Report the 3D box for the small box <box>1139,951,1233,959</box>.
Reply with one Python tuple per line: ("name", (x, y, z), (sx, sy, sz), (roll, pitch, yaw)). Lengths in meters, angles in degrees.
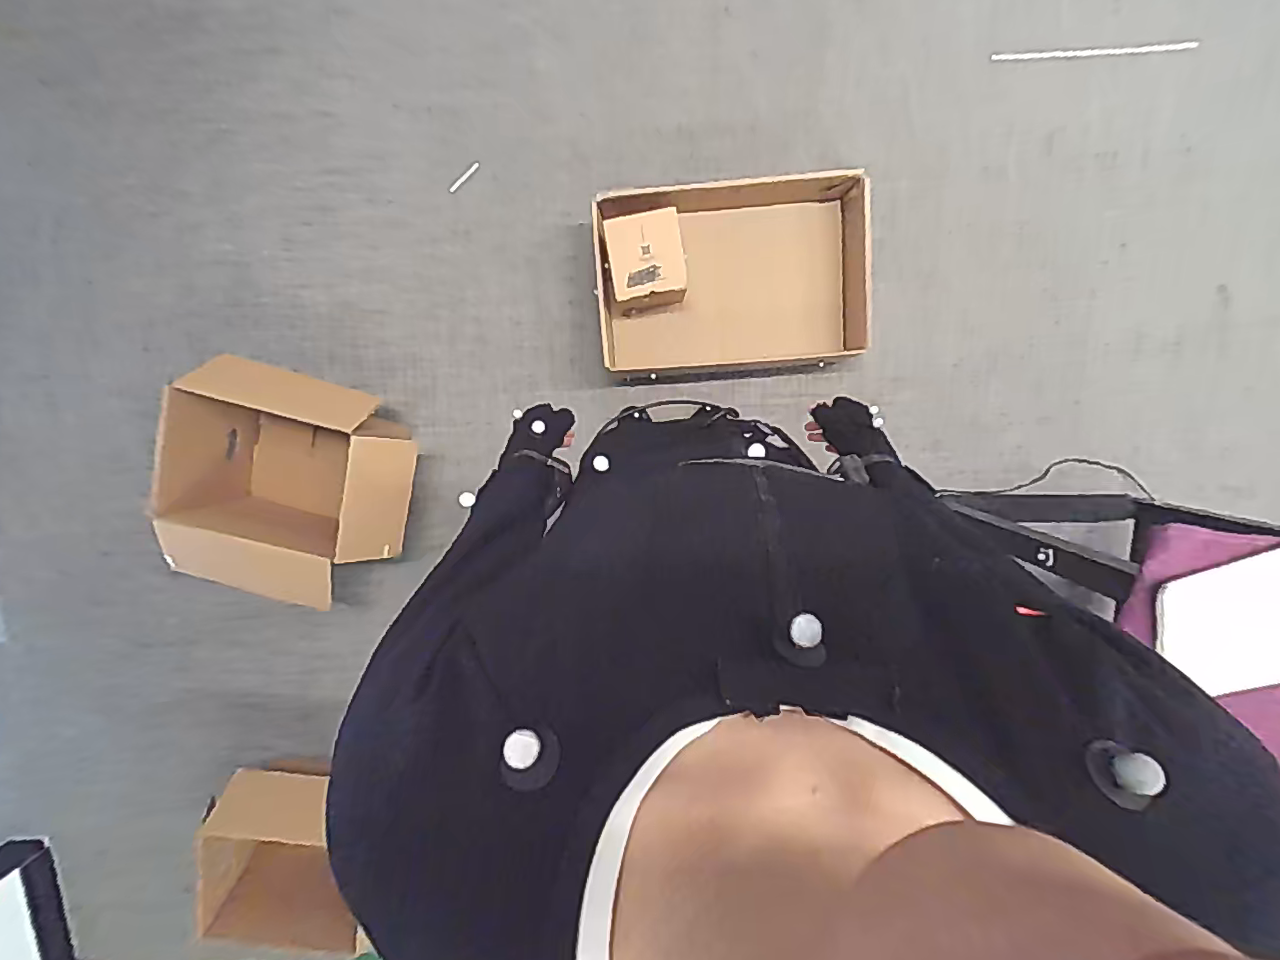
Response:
("small box", (0.826, 0.797, 0.738), (0.179, 0.176, 0.168), (5, 98, 1))
